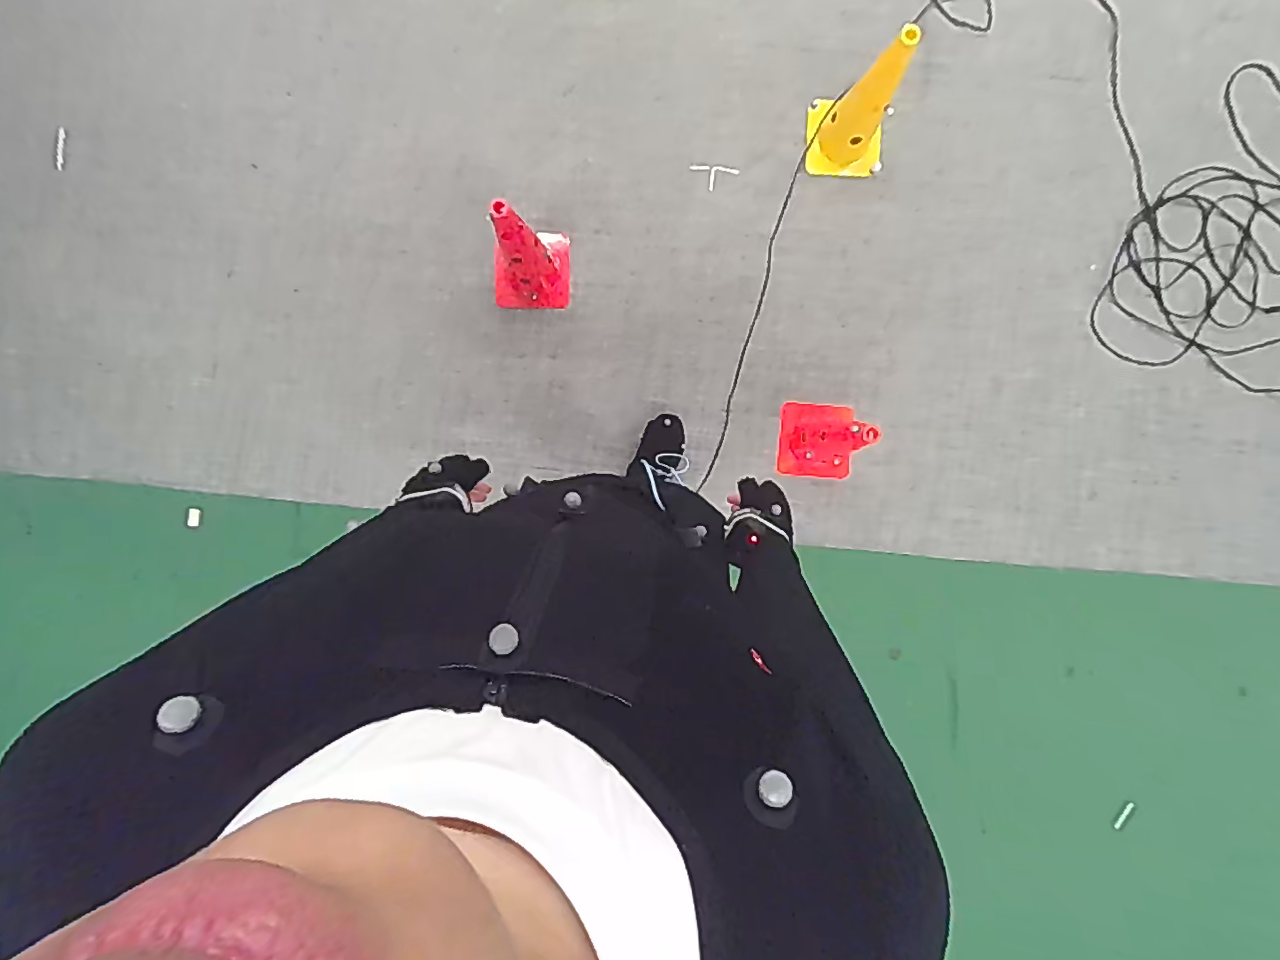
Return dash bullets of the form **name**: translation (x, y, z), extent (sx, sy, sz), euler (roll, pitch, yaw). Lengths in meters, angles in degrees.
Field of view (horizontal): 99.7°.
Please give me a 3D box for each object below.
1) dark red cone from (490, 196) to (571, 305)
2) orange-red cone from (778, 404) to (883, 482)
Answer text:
- **dark red cone**: translation (-0.283, -0.556, 1.263), extent (0.202, 0.394, 0.201), euler (0, 93, -1)
- **orange-red cone**: translation (0.483, -0.099, 1.304), extent (0.198, 0.360, 0.199), euler (6, 90, -2)
